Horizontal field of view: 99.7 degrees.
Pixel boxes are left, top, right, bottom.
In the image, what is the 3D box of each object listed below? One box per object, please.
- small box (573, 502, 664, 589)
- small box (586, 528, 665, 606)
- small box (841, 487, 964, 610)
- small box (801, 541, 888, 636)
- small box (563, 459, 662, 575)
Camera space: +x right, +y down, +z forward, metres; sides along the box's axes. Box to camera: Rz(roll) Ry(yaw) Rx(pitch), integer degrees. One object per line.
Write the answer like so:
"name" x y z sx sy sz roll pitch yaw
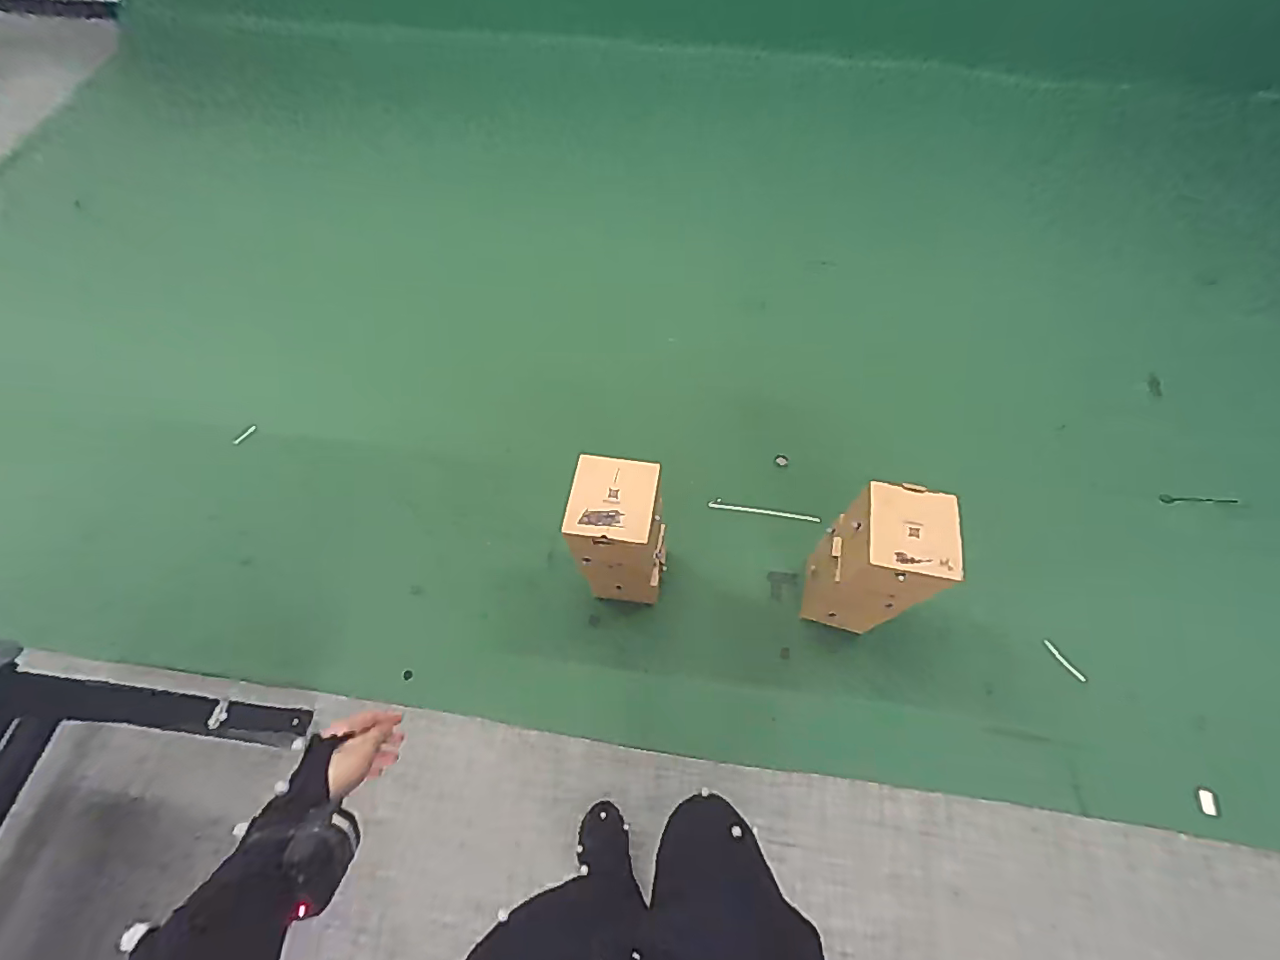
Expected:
"small box" -0.045 0.145 1.256 0.179 0.176 0.168 9 64 4
"small box" -0.033 0.220 1.400 0.179 0.176 0.168 7 64 4
"small box" 0.510 0.140 1.074 0.168 0.176 0.179 11 62 5
"small box" 0.517 0.282 1.371 0.168 0.176 0.179 14 64 7
"small box" -0.048 0.081 1.105 0.168 0.176 0.179 8 63 5
